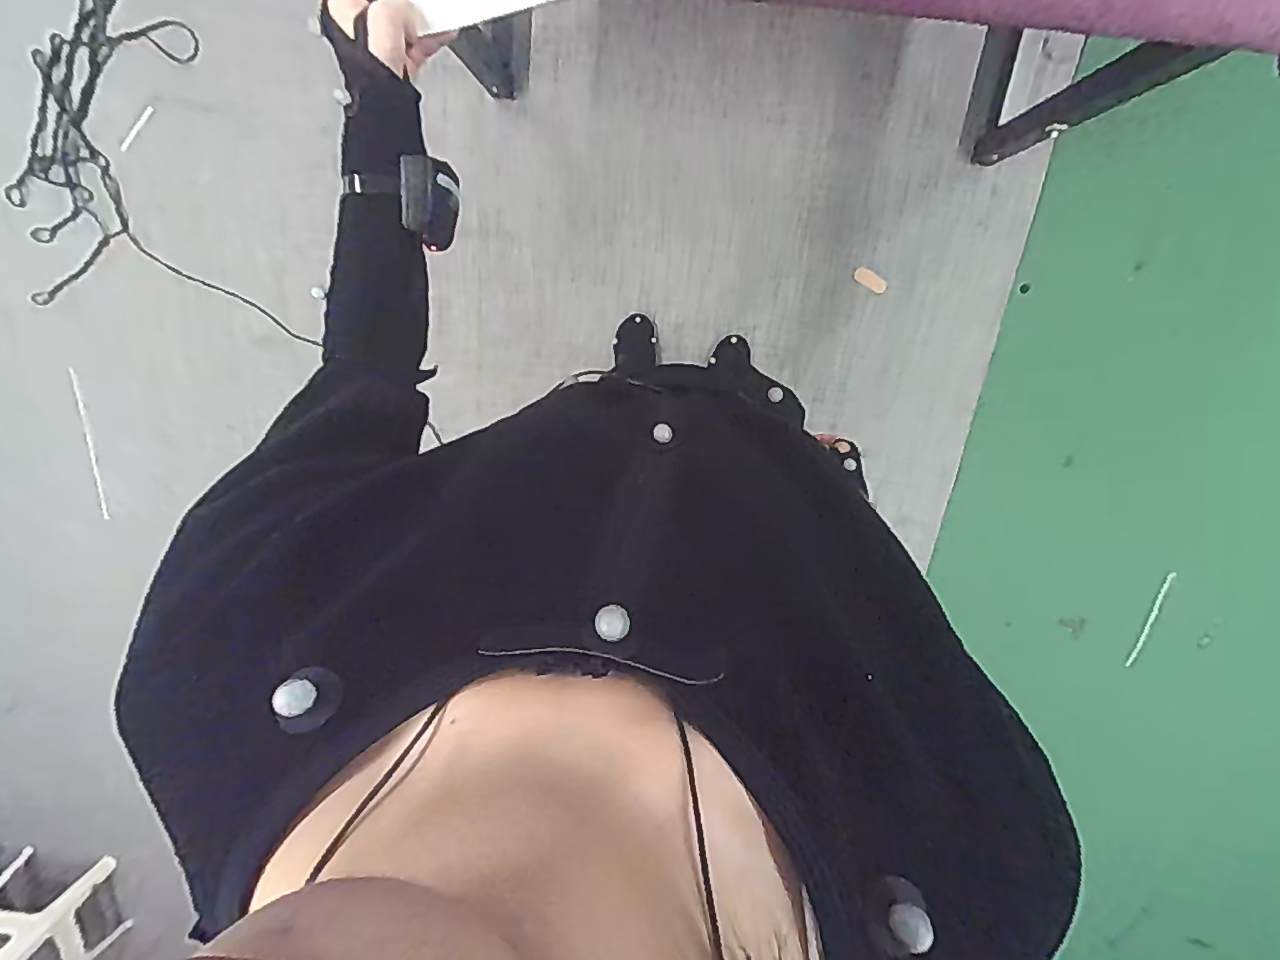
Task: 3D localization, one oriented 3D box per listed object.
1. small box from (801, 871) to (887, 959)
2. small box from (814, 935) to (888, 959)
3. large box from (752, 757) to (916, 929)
[{"bbox_3d":[0.536,1.182,1.440,0.179,0.176,0.168,-3,105,5],"label":"small box"},{"bbox_3d":[0.515,1.232,1.286,0.168,0.176,0.179,-2,105,5],"label":"small box"},{"bbox_3d":[0.580,1.108,1.672,0.408,0.320,0.320,-7,107,5],"label":"large box"}]
